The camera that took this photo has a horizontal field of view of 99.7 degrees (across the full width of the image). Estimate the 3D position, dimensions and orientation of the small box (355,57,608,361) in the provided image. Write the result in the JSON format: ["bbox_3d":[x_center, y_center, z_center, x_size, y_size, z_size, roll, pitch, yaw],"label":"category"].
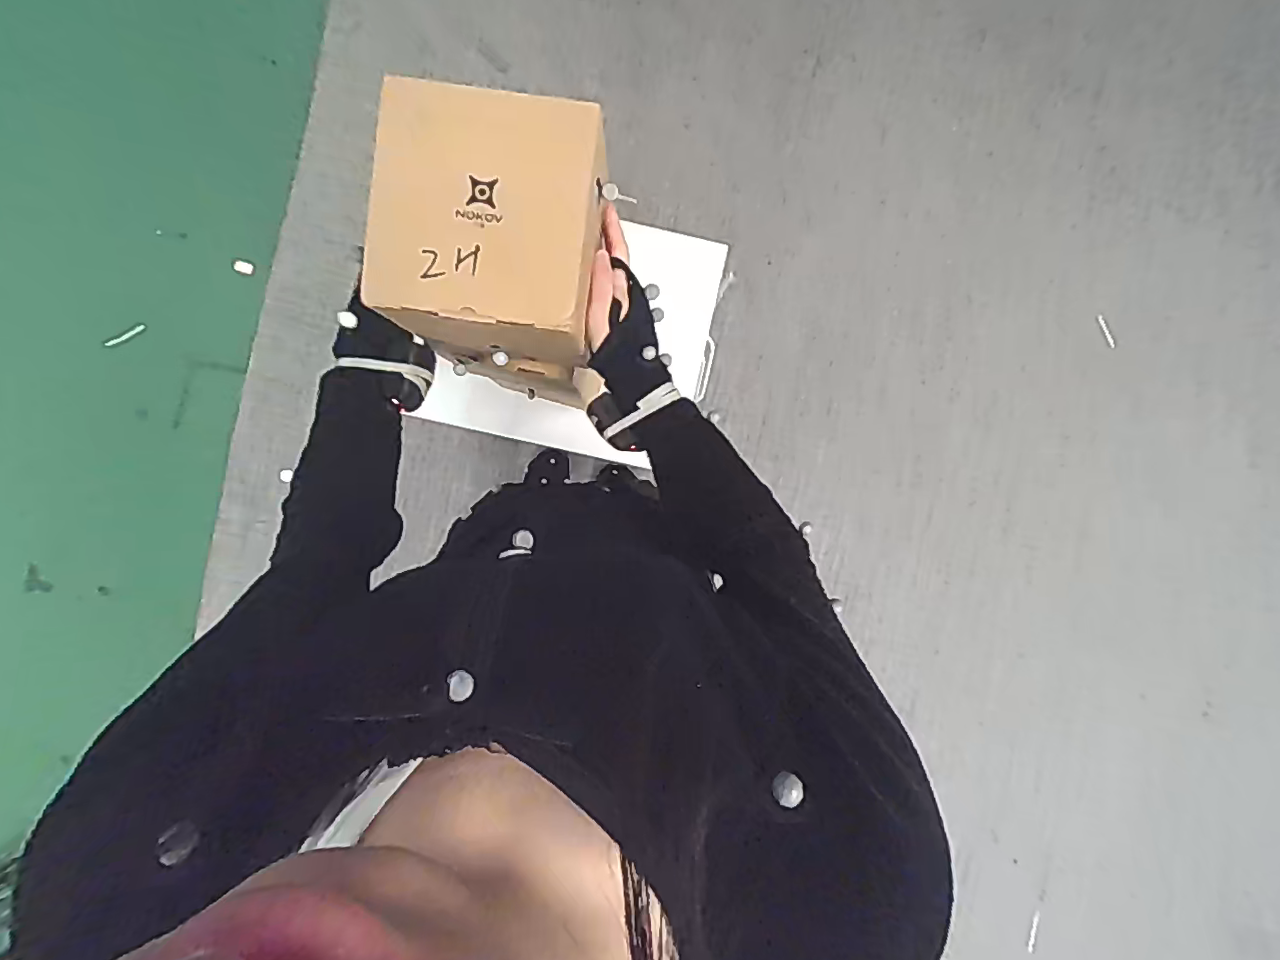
[{"bbox_3d":[-0.120,-0.216,0.477,0.168,0.176,0.179,7,92,0],"label":"small box"}]

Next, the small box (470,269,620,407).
[{"bbox_3d":[-0.132,-0.219,0.806,0.168,0.176,0.179,15,91,-1],"label":"small box"}]
